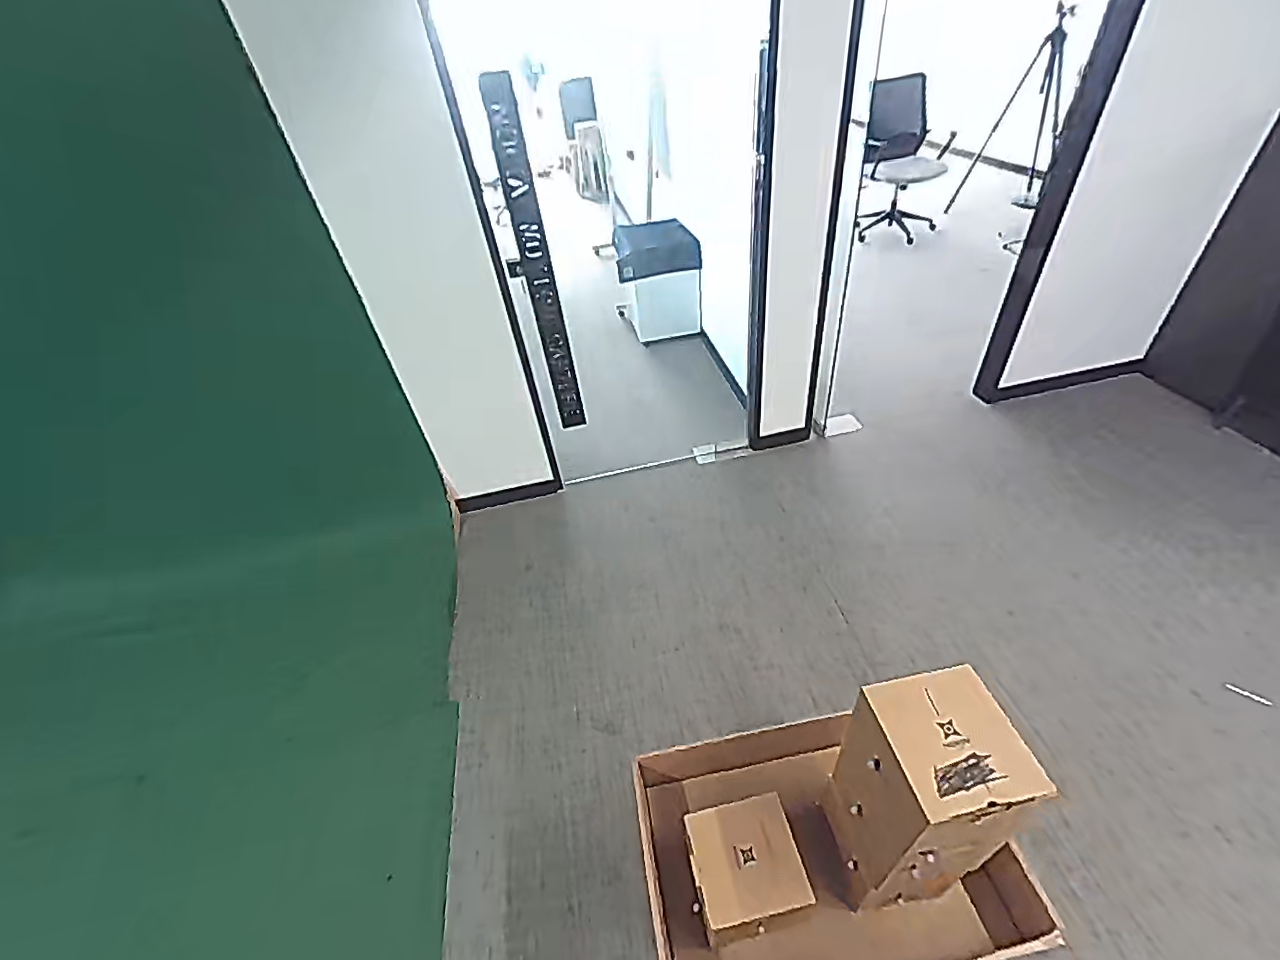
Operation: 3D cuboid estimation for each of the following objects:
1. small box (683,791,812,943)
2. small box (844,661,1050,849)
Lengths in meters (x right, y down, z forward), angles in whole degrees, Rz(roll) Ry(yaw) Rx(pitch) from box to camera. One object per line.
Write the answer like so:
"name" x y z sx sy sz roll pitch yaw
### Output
"small box" 0.181 0.684 0.953 0.179 0.176 0.168 -10 41 -5
"small box" 0.407 0.388 0.755 0.168 0.176 0.179 -10 41 -3
